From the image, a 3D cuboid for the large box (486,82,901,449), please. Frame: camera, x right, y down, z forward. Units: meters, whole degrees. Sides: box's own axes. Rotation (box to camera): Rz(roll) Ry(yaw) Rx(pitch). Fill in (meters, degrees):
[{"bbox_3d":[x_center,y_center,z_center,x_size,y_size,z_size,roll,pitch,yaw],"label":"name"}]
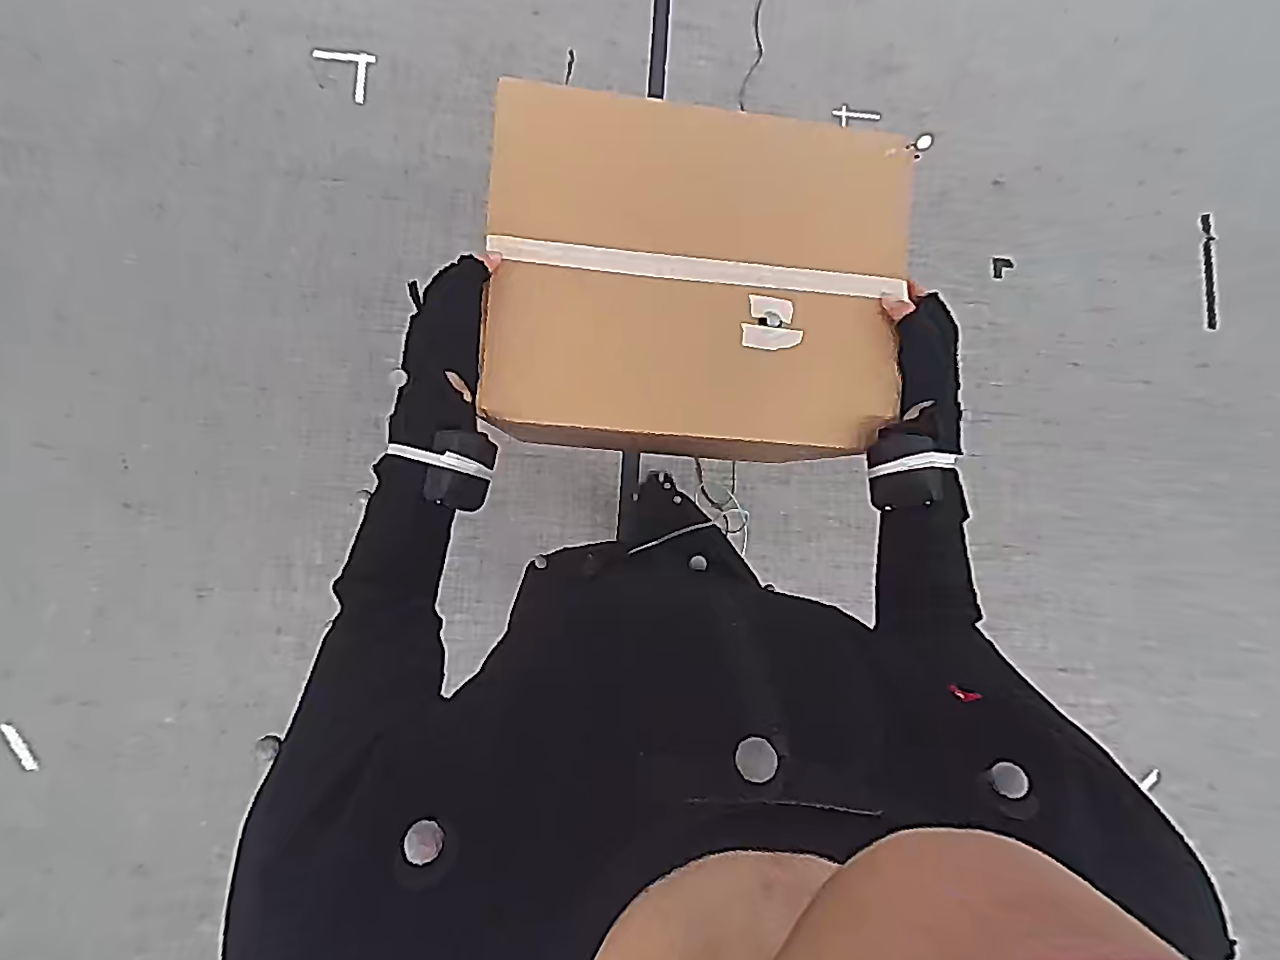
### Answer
[{"bbox_3d":[0.042,-0.211,0.675,0.408,0.320,0.320,5,91,-6],"label":"large box"}]
